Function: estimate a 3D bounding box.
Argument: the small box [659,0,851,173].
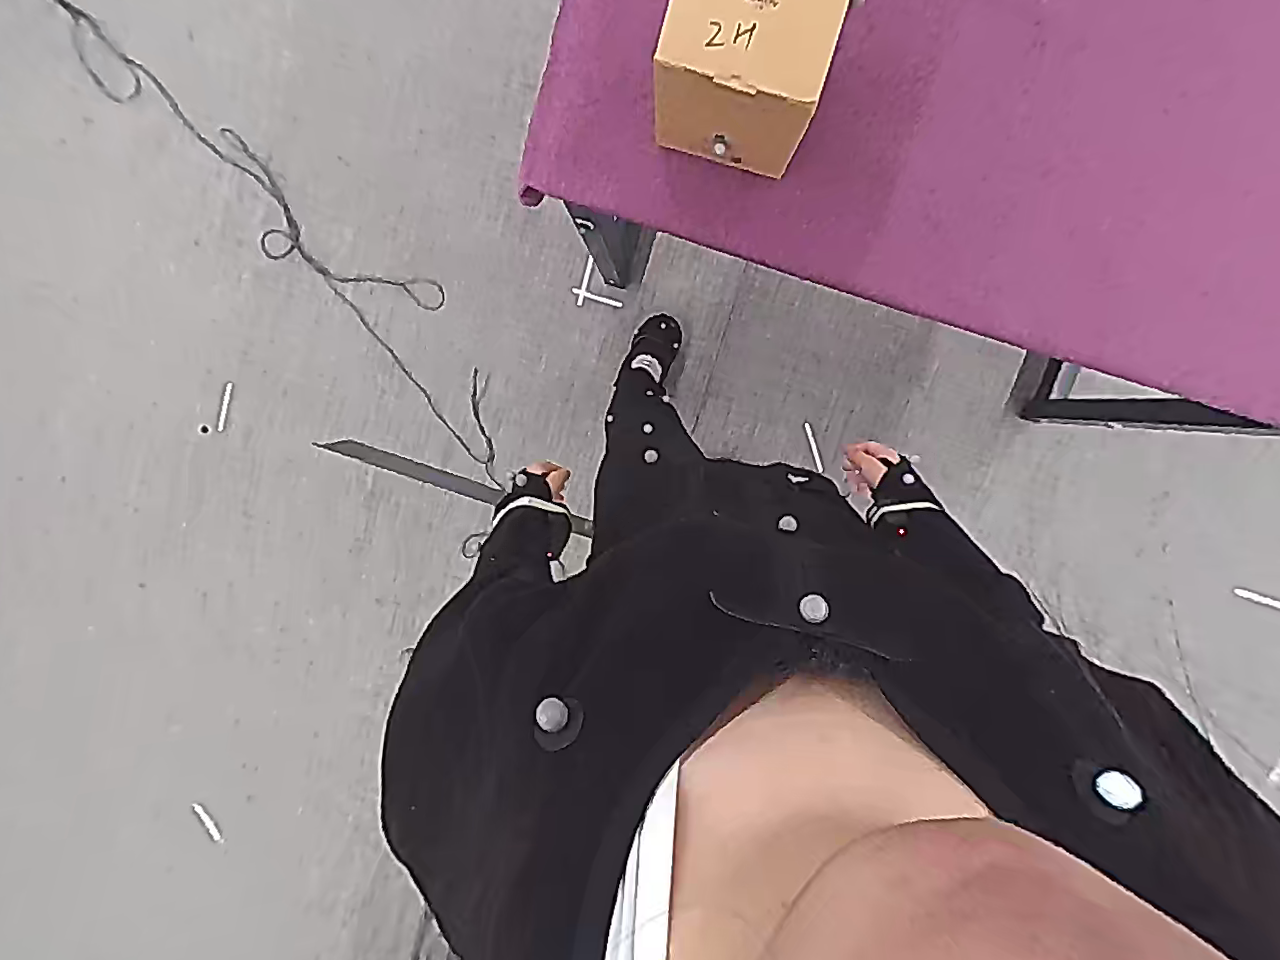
[{"bbox_3d":[0.121,-0.476,0.586,0.168,0.176,0.179,17,98,1],"label":"small box"}]
